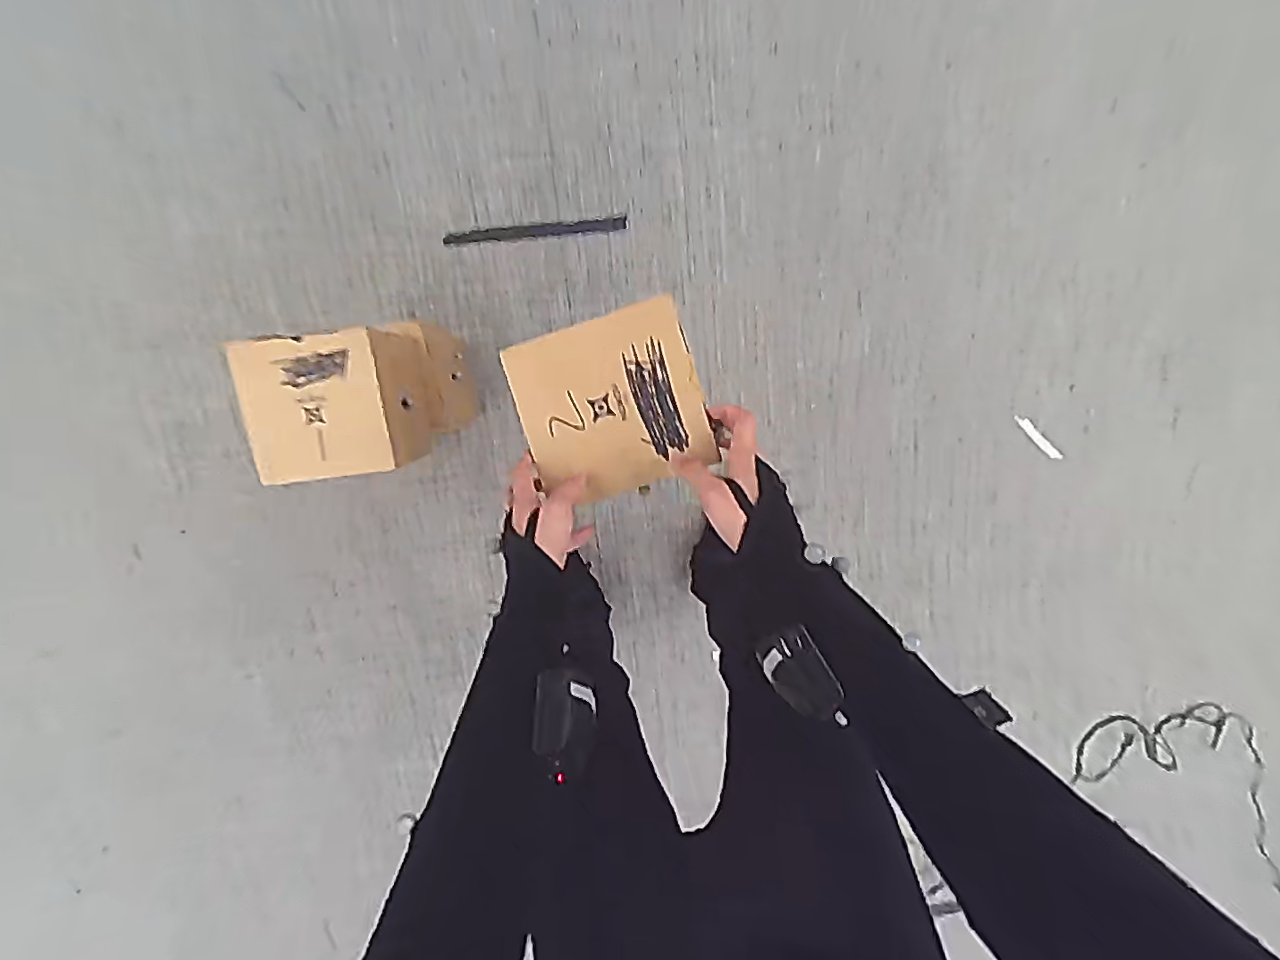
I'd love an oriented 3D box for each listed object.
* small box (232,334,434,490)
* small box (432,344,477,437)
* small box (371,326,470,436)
[{"bbox_3d":[-0.396,-0.094,0.732,0.168,0.176,0.179,-7,101,-3],"label":"small box"},{"bbox_3d":[-0.428,-0.172,1.049,0.168,0.176,0.179,-10,101,-4],"label":"small box"},{"bbox_3d":[-0.399,-0.149,0.889,0.179,0.176,0.168,-11,101,-3],"label":"small box"}]
